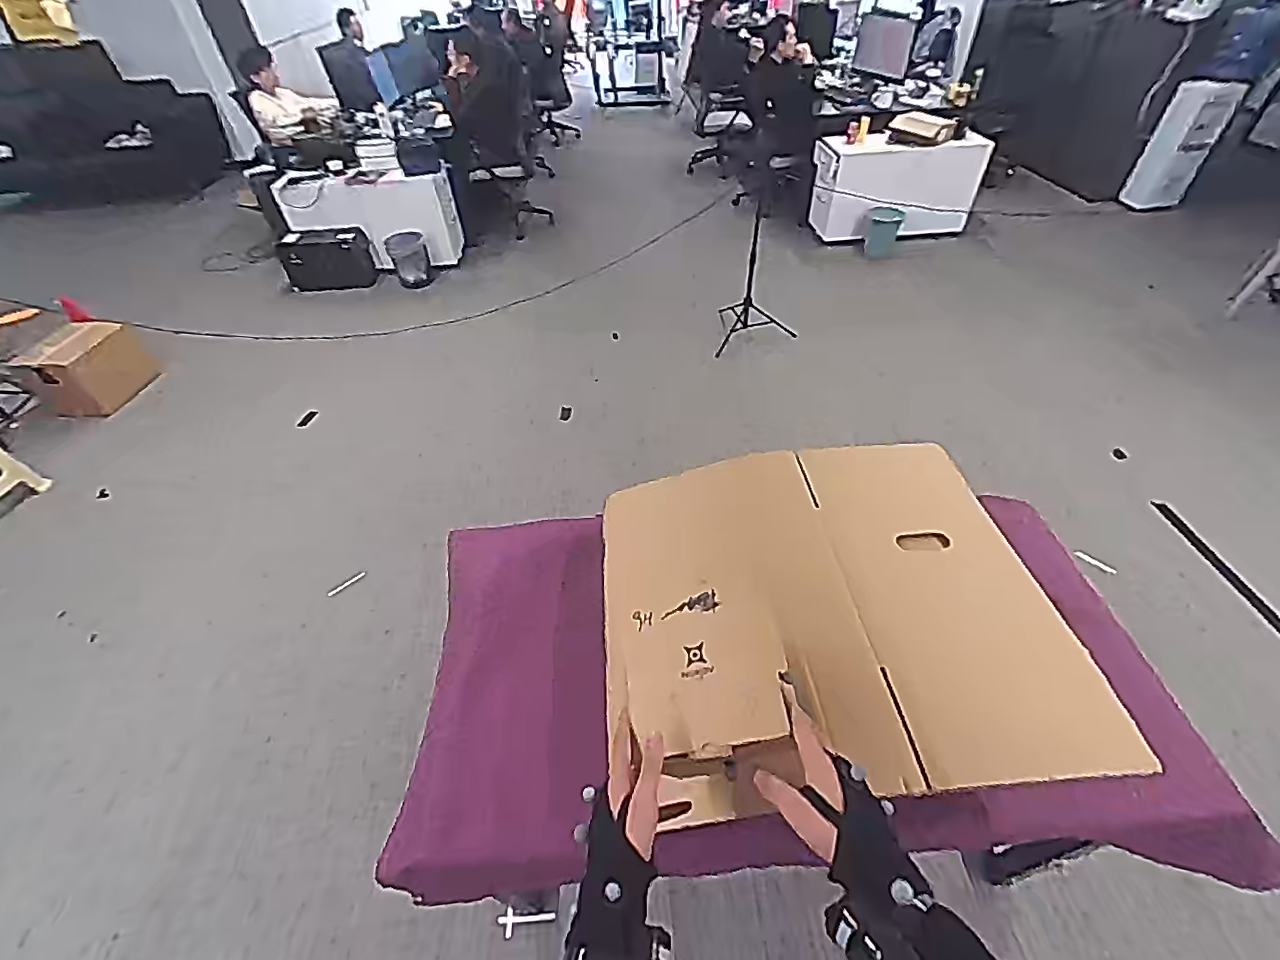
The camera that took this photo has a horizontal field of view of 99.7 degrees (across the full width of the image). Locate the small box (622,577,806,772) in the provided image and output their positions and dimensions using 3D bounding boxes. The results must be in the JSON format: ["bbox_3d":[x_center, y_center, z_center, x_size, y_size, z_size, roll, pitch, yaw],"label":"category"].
[{"bbox_3d":[0.089,0.240,0.643,0.168,0.176,0.179,-16,54,14],"label":"small box"}]
